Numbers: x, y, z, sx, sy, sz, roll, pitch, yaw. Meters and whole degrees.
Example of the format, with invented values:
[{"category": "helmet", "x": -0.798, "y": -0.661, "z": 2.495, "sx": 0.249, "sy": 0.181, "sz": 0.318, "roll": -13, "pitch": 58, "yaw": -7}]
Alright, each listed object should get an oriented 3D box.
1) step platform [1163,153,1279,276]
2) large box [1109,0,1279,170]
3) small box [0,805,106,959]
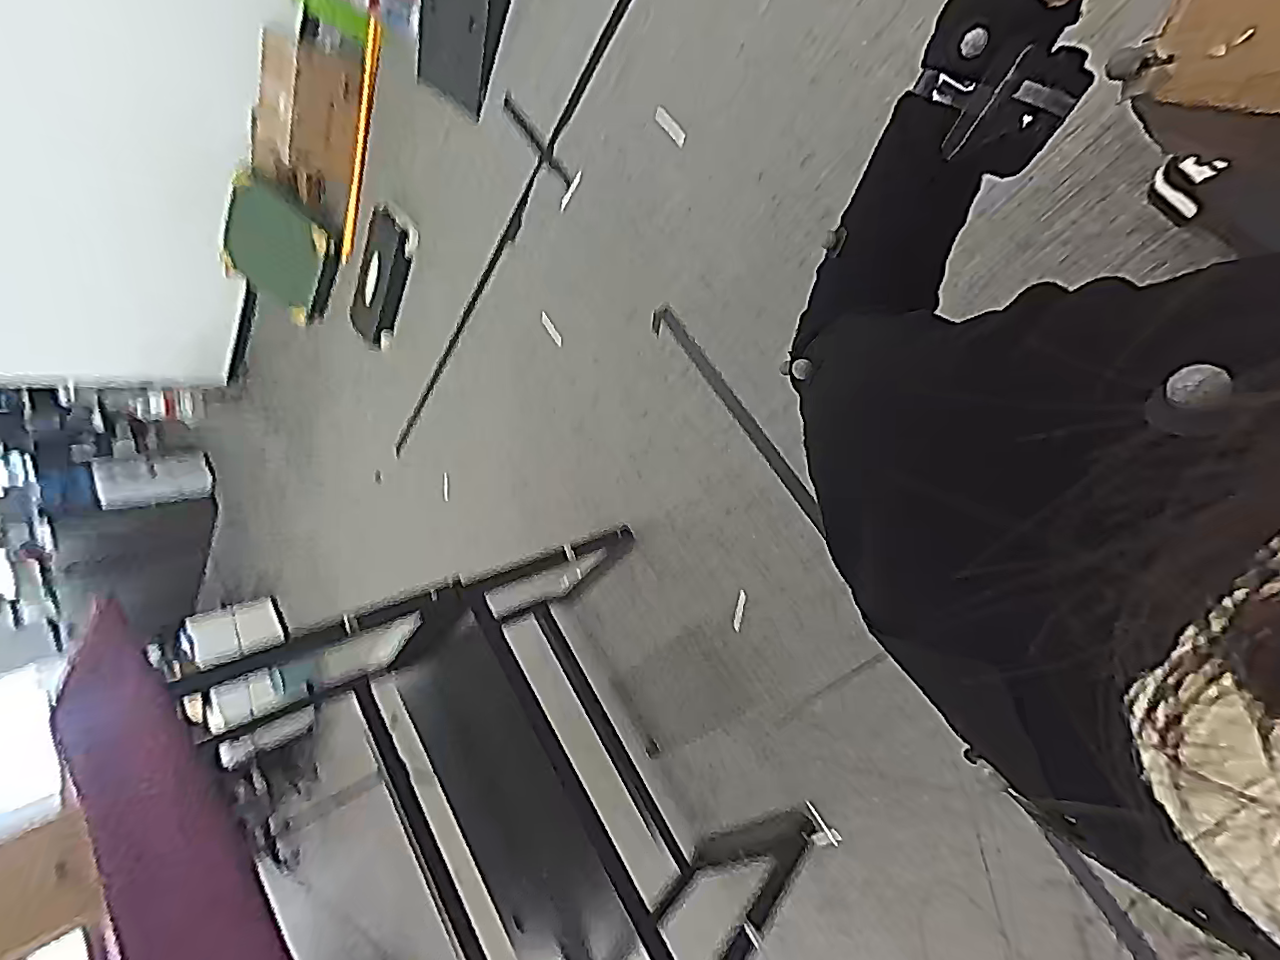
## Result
[{"category": "step platform", "x": 1.168, "y": -0.377, "z": 0.817, "sx": 0.286, "sy": 0.204, "sz": 0.684, "roll": -38, "pitch": 74, "yaw": 37}, {"category": "large box", "x": 0.491, "y": -0.259, "z": 0.170, "sx": 0.408, "sy": 0.320, "sz": 0.320, "roll": 34, "pitch": 130, "yaw": 32}, {"category": "small box", "x": -0.953, "y": 0.631, "z": 0.824, "sx": 0.168, "sy": 0.176, "sz": 0.179, "roll": -46, "pitch": 70, "yaw": 36}]
